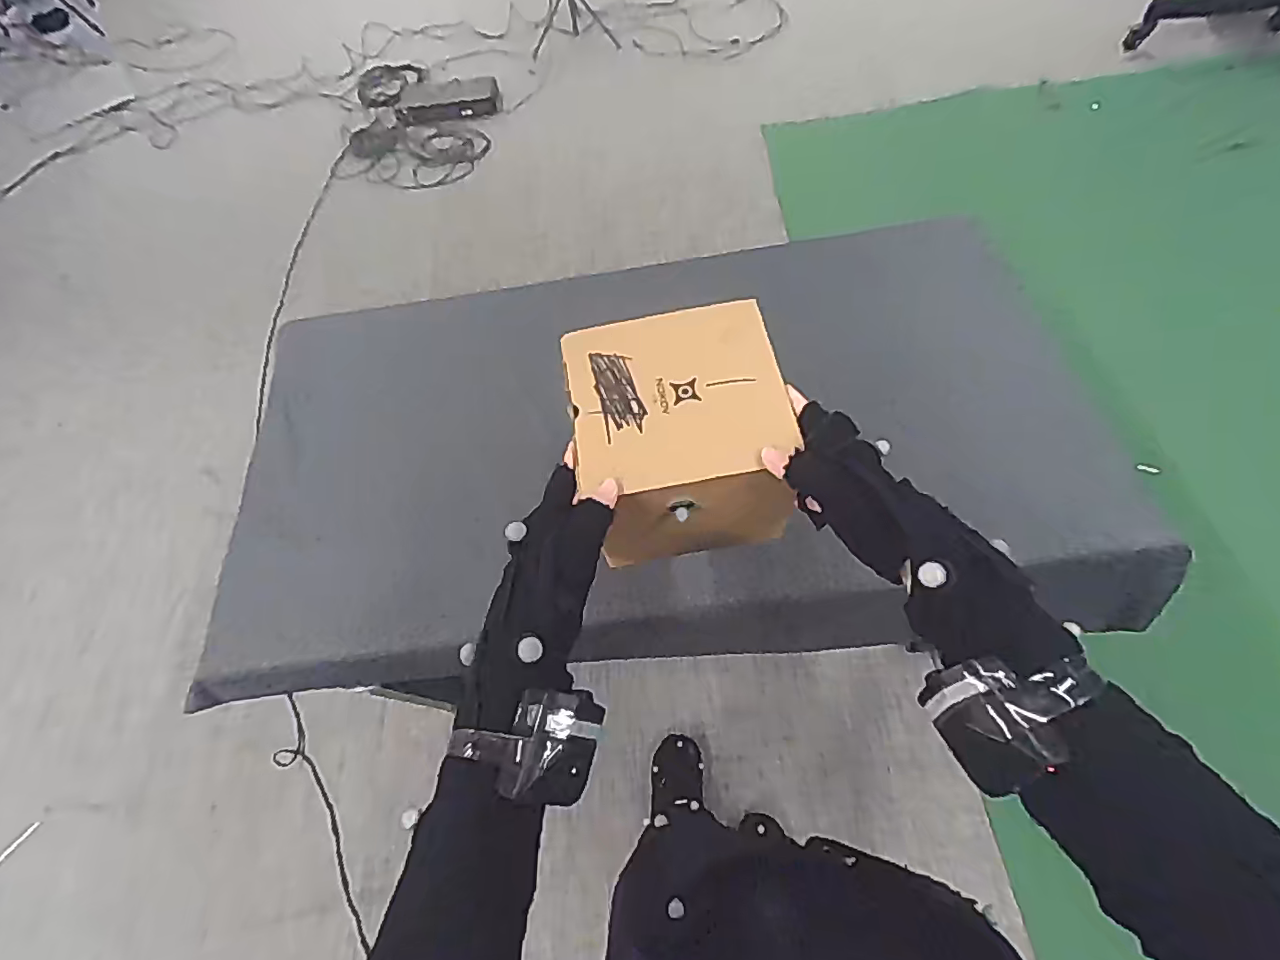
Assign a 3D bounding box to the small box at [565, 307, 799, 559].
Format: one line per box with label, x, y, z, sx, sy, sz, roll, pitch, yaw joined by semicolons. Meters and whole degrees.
small box;0.036;-0.034;0.522;0.179;0.176;0.168;-10;63;1
